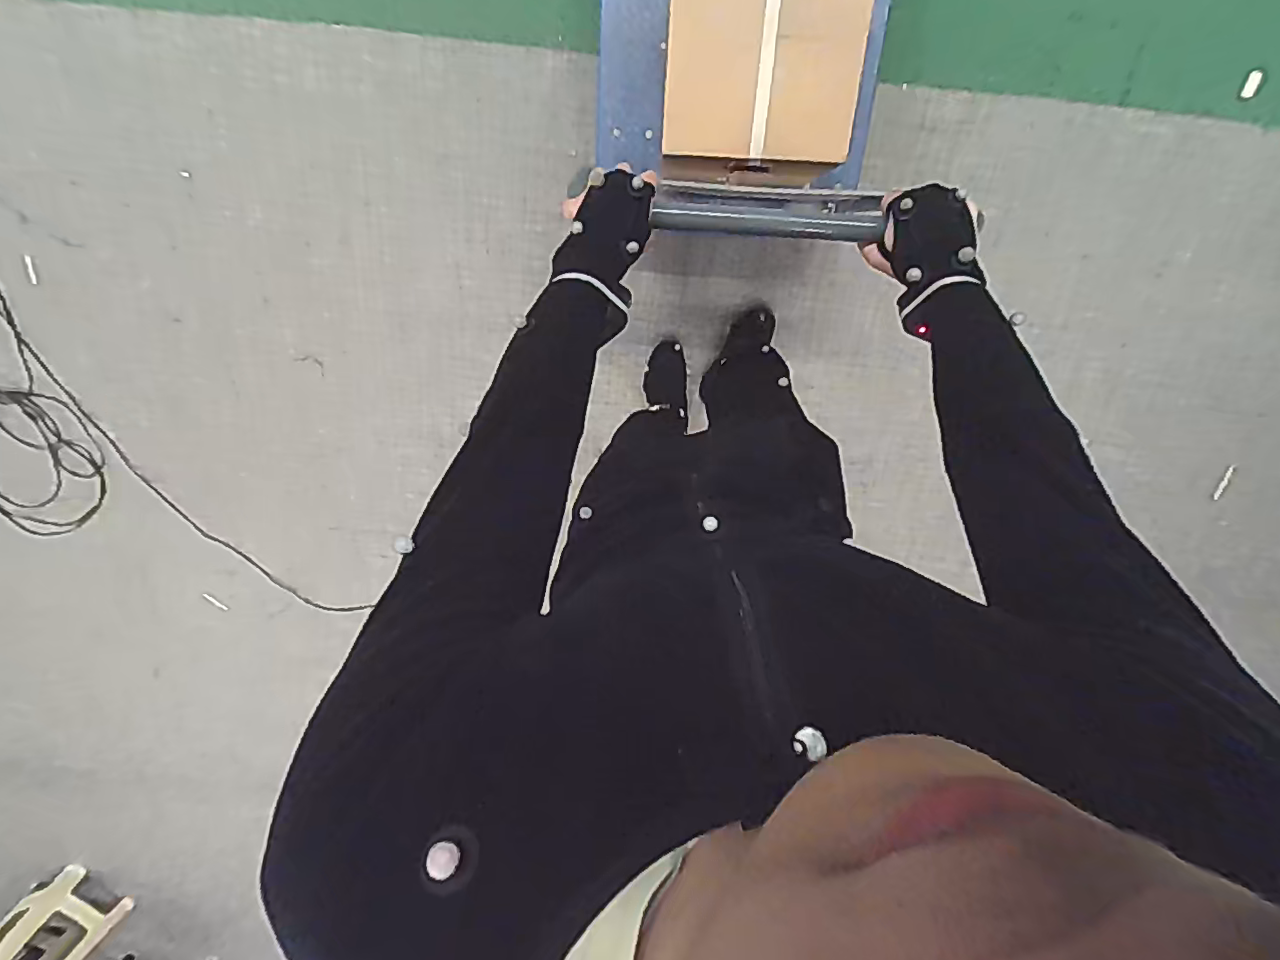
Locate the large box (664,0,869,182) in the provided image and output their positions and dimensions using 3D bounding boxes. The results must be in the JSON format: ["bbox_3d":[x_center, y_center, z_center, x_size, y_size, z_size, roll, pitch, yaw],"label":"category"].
[{"bbox_3d":[0.213,-0.793,0.986,0.320,0.320,0.408,4,111,2],"label":"large box"}]
